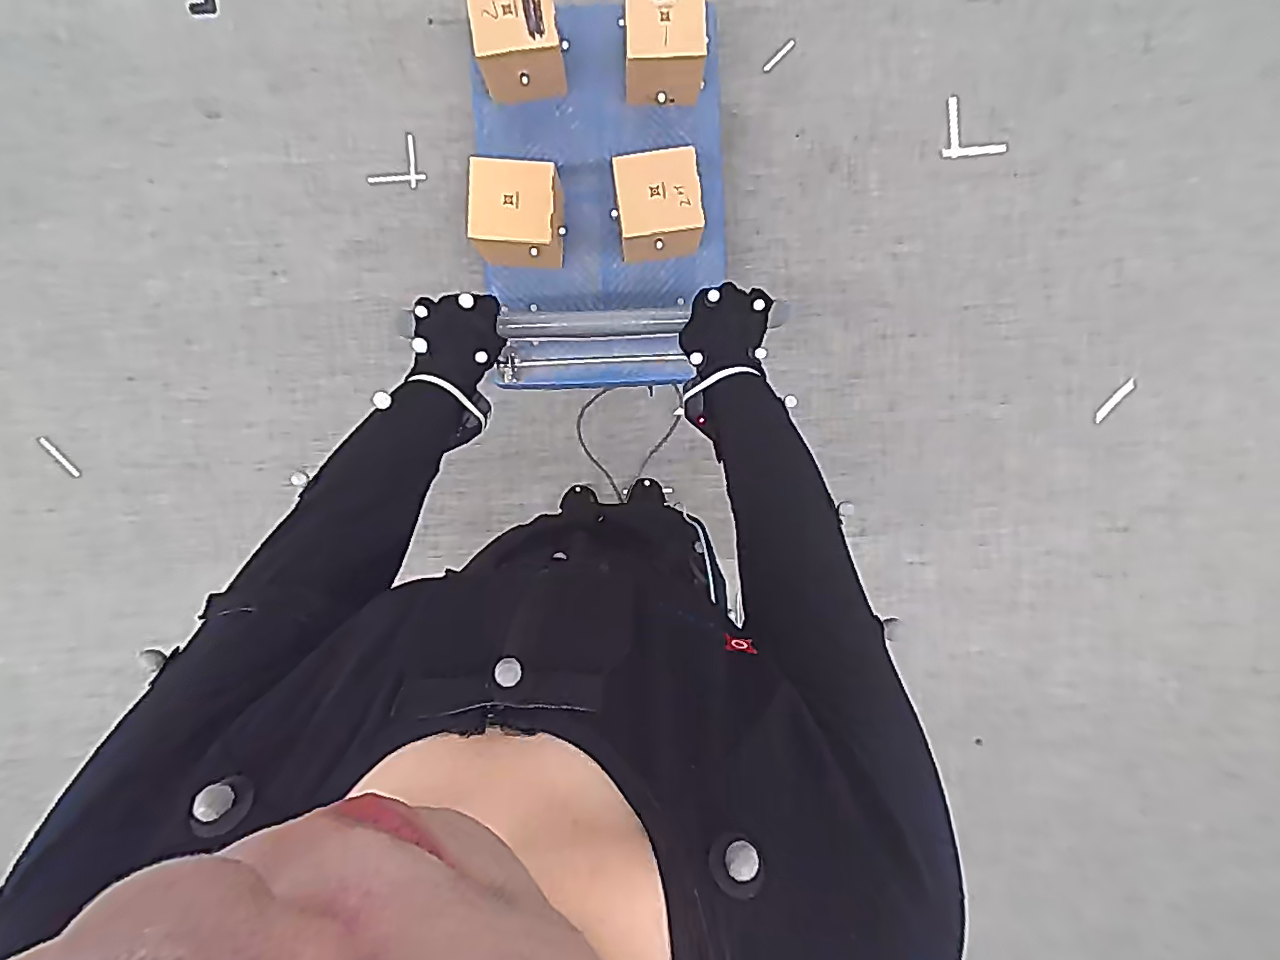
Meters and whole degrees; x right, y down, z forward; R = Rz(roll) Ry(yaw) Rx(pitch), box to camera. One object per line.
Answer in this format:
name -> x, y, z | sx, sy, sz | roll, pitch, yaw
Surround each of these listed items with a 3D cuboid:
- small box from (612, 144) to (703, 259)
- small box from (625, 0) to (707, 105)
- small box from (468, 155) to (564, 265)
small box -> 0.038, -0.608, 1.204 | 0.179, 0.176, 0.168 | -8, 94, 0
small box -> 0.052, -0.963, 1.182 | 0.168, 0.176, 0.179 | -2, 95, 0
small box -> -0.269, -0.591, 1.203 | 0.179, 0.176, 0.168 | 3, 93, -2
